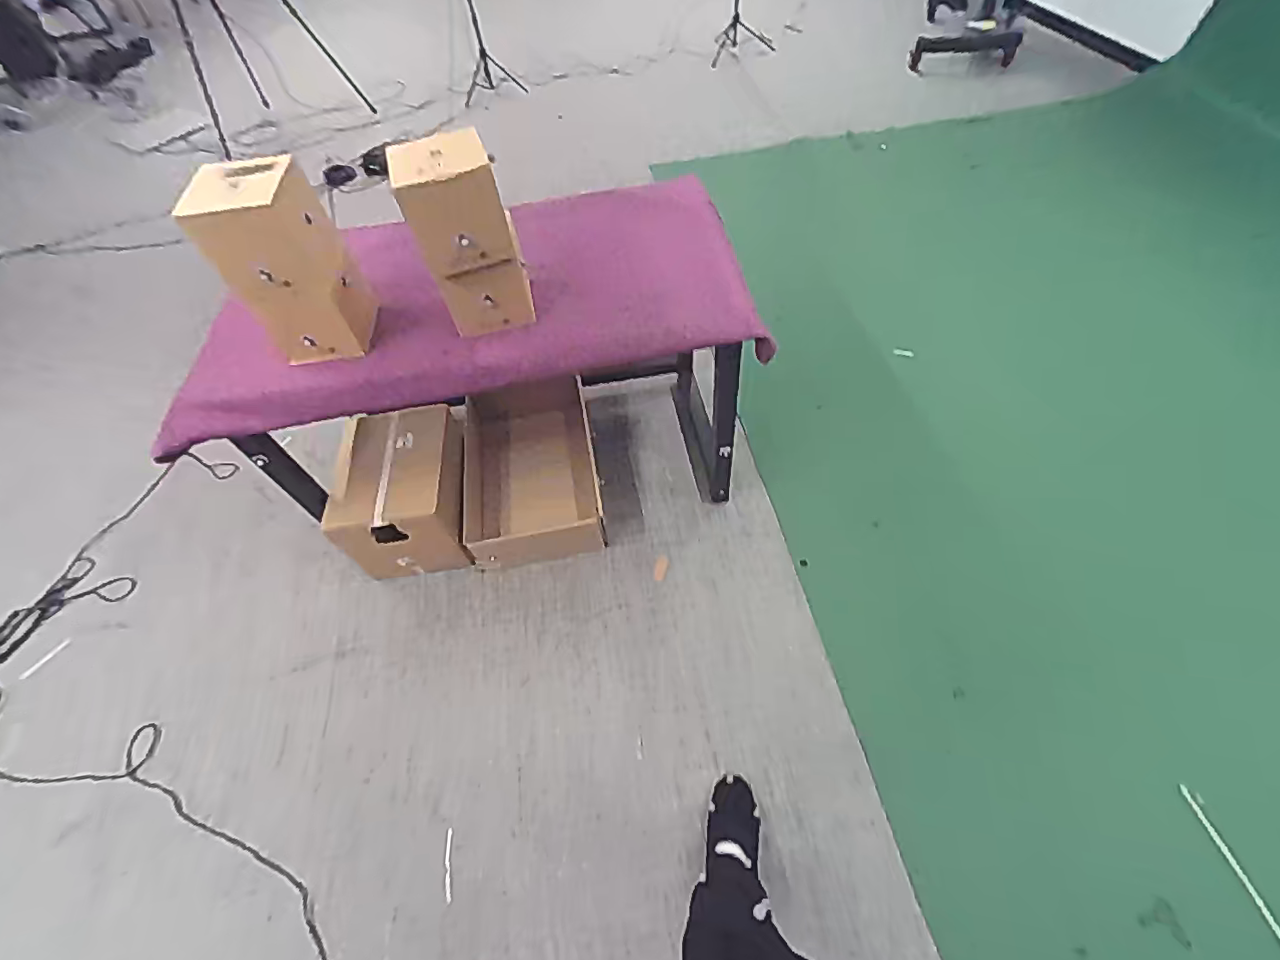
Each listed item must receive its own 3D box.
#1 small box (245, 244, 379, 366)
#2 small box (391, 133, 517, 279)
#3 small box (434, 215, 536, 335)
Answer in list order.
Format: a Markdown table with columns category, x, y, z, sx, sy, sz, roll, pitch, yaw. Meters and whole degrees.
| category | x | y | z | sx | sy | sz | roll | pitch | yaw |
| --- | --- | --- | --- | --- | --- | --- | --- | --- | --- |
| small box | -0.676 | -0.367 | 1.141 | 0.168 | 0.176 | 0.179 | -8 | 55 | -1 |
| small box | -0.341 | -0.505 | 1.002 | 0.168 | 0.176 | 0.179 | -18 | 54 | -7 |
| small box | -0.326 | -0.427 | 1.149 | 0.168 | 0.176 | 0.179 | -13 | 54 | -4 |
